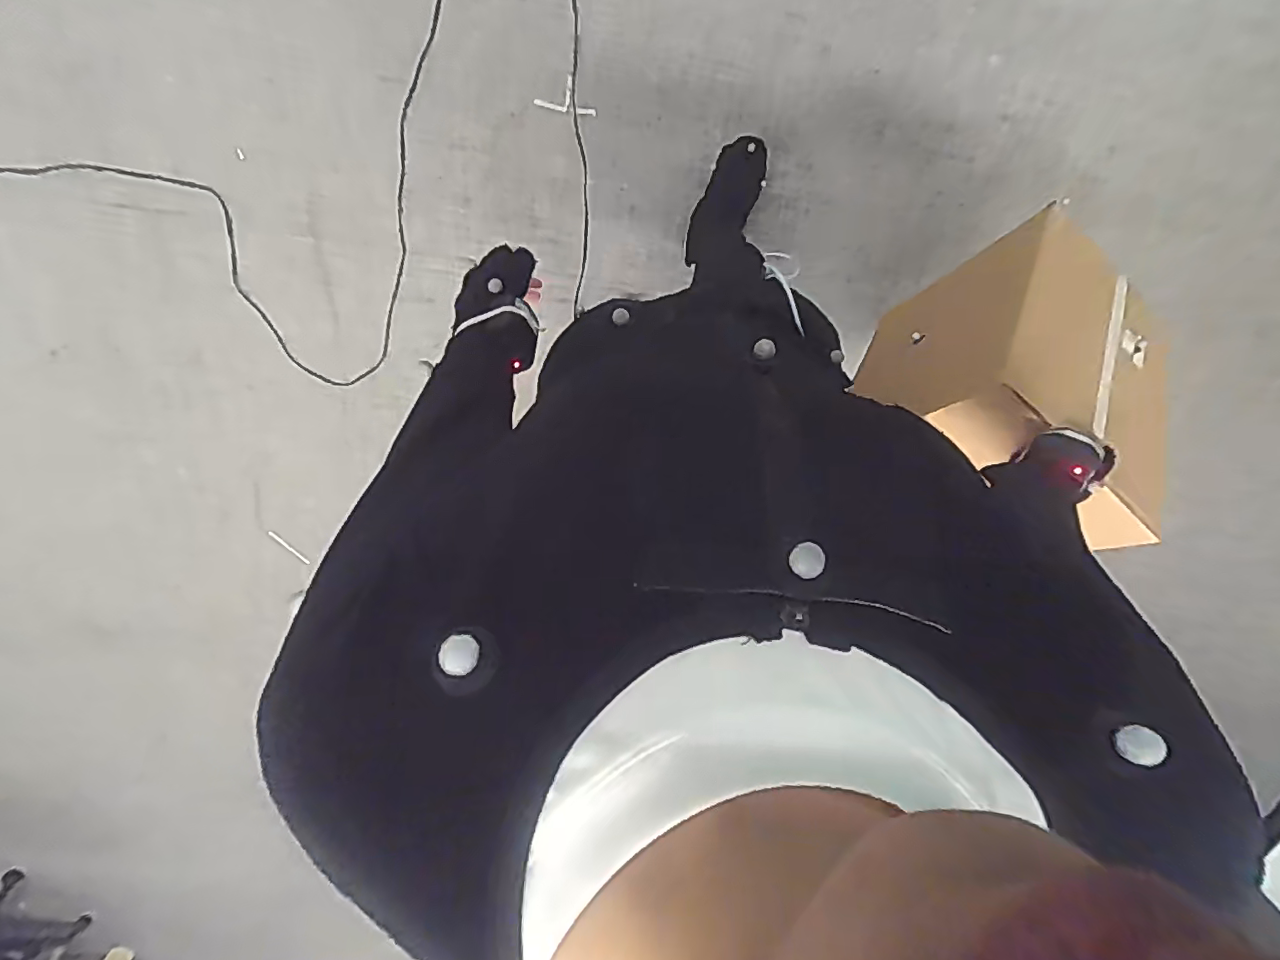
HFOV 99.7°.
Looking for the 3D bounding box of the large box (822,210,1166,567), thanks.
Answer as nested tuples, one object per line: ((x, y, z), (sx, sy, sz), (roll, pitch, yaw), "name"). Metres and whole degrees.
((0.561, -0.123, 0.870), (0.320, 0.408, 0.320), (39, 152, -11), "large box")
